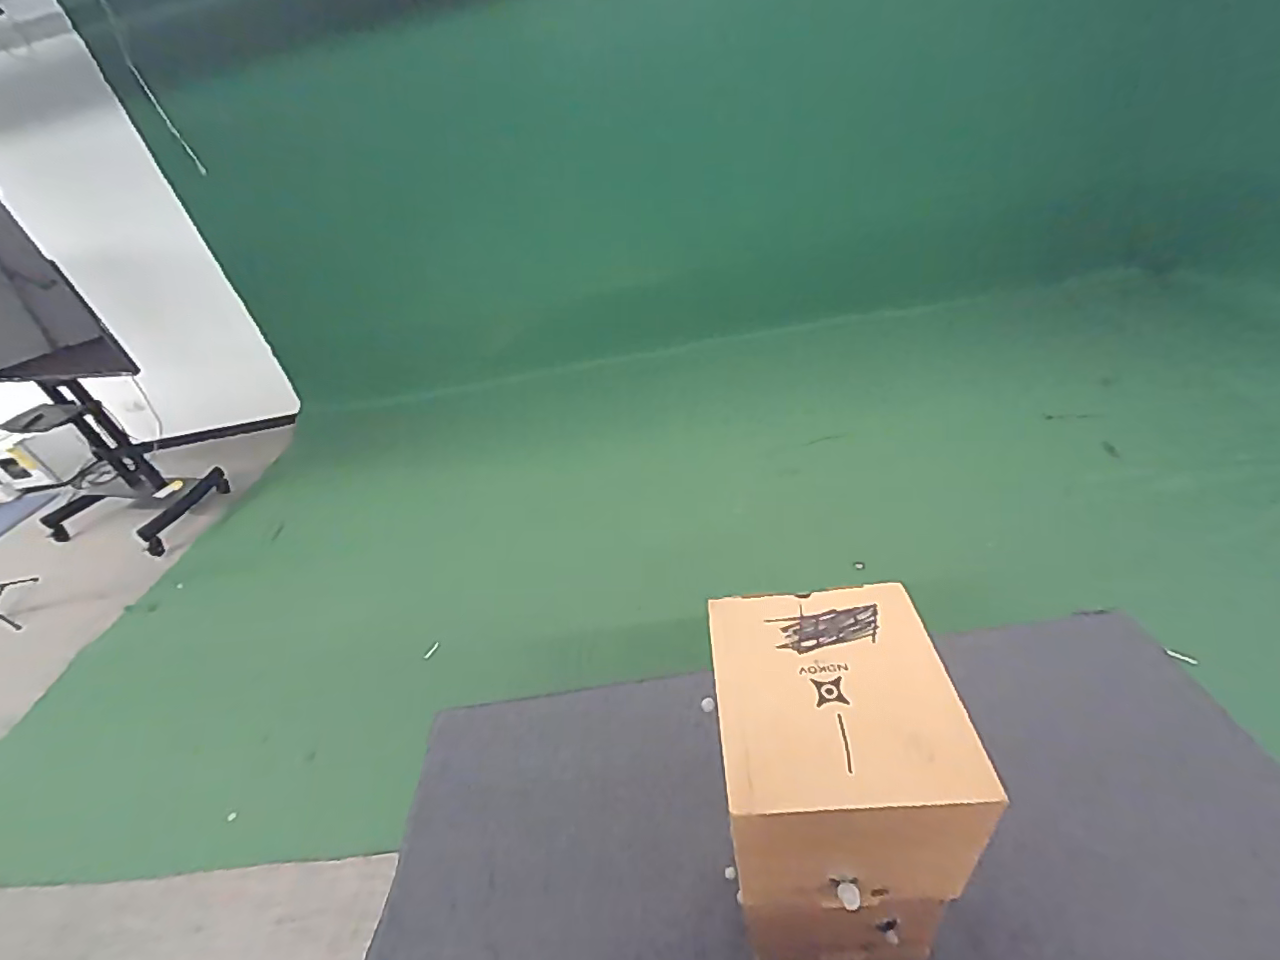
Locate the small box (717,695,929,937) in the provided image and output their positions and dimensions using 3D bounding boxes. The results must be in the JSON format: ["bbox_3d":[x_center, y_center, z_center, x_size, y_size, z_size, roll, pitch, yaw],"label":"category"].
[{"bbox_3d":[0.175,0.330,0.543,0.168,0.176,0.179,-8,36,6],"label":"small box"}]

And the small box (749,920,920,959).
[{"bbox_3d":[0.208,0.456,0.640,0.168,0.176,0.179,-8,37,7],"label":"small box"}]

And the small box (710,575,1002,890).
[{"bbox_3d":[0.150,0.203,0.442,0.168,0.176,0.179,-7,38,7],"label":"small box"}]
